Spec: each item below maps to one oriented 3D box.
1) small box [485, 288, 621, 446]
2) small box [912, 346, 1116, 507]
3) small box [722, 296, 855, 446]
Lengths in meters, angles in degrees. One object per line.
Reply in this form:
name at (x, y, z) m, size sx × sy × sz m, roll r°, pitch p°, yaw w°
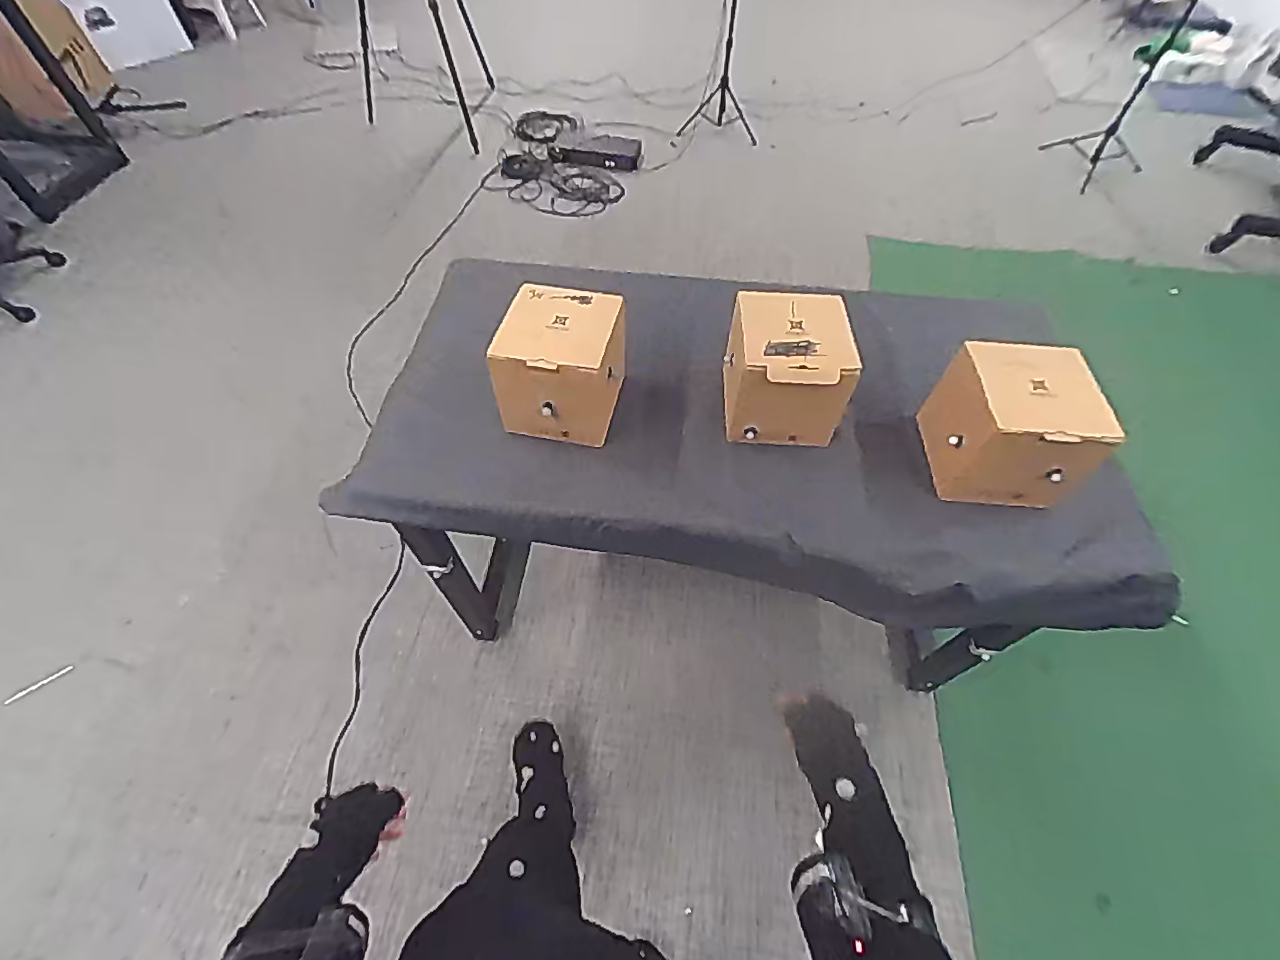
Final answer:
small box at (-0.125, -0.177, 0.868) m, size 0.168 × 0.176 × 0.179 m, roll 10°, pitch 55°, yaw 5°
small box at (0.540, -0.076, 0.814) m, size 0.168 × 0.176 × 0.179 m, roll 5°, pitch 53°, yaw 1°
small box at (0.226, -0.172, 0.873) m, size 0.168 × 0.176 × 0.179 m, roll 3°, pitch 54°, yaw 1°
